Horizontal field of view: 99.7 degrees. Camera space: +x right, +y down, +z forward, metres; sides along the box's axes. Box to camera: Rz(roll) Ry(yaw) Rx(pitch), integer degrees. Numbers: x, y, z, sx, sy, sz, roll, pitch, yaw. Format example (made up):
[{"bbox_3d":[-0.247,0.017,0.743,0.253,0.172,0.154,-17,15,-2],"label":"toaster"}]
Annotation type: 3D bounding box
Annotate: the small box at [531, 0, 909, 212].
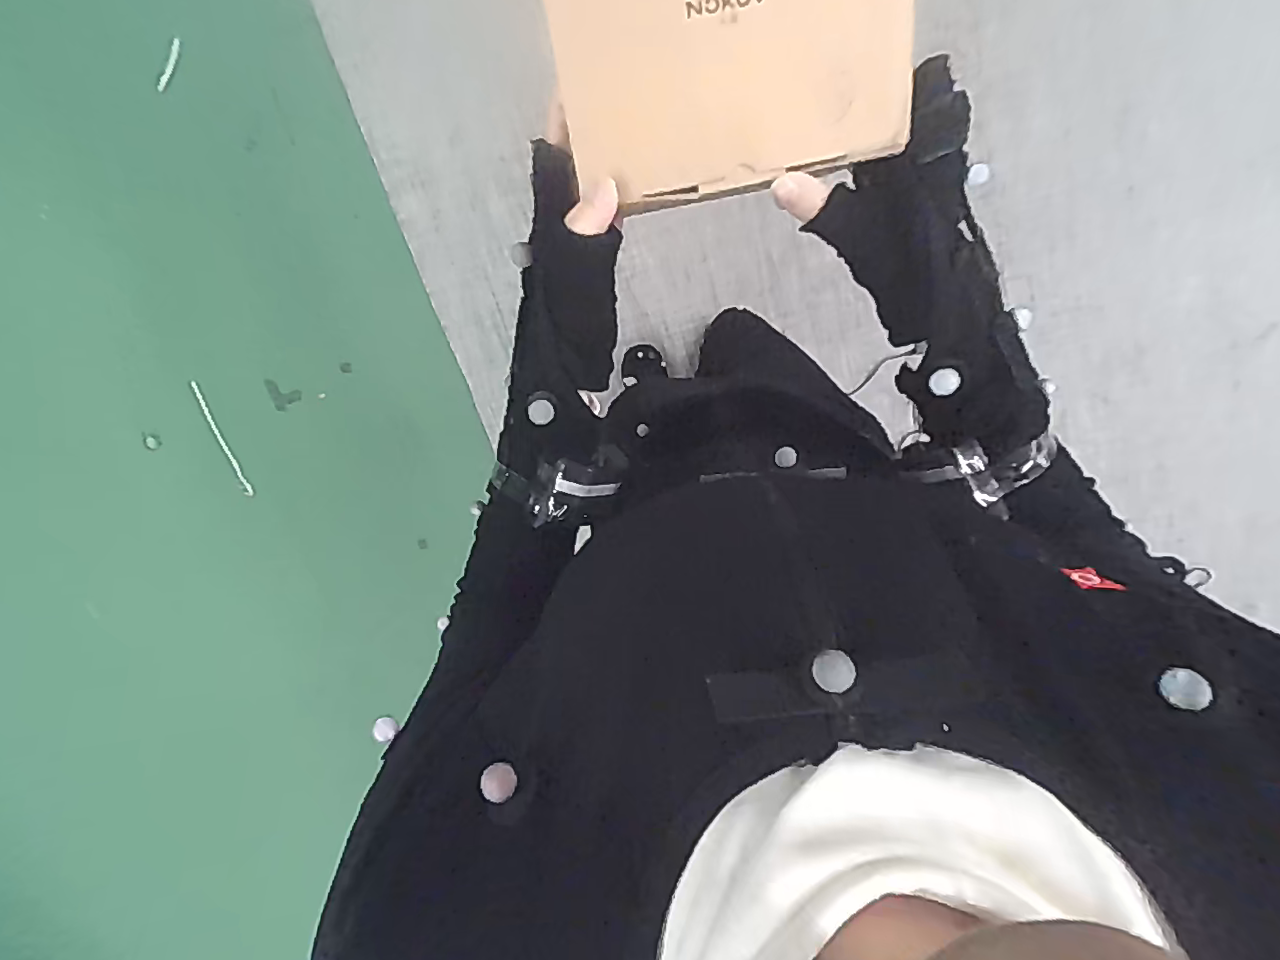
[{"bbox_3d":[0.035,-0.266,0.304,0.168,0.176,0.179,-11,115,9],"label":"small box"}]
